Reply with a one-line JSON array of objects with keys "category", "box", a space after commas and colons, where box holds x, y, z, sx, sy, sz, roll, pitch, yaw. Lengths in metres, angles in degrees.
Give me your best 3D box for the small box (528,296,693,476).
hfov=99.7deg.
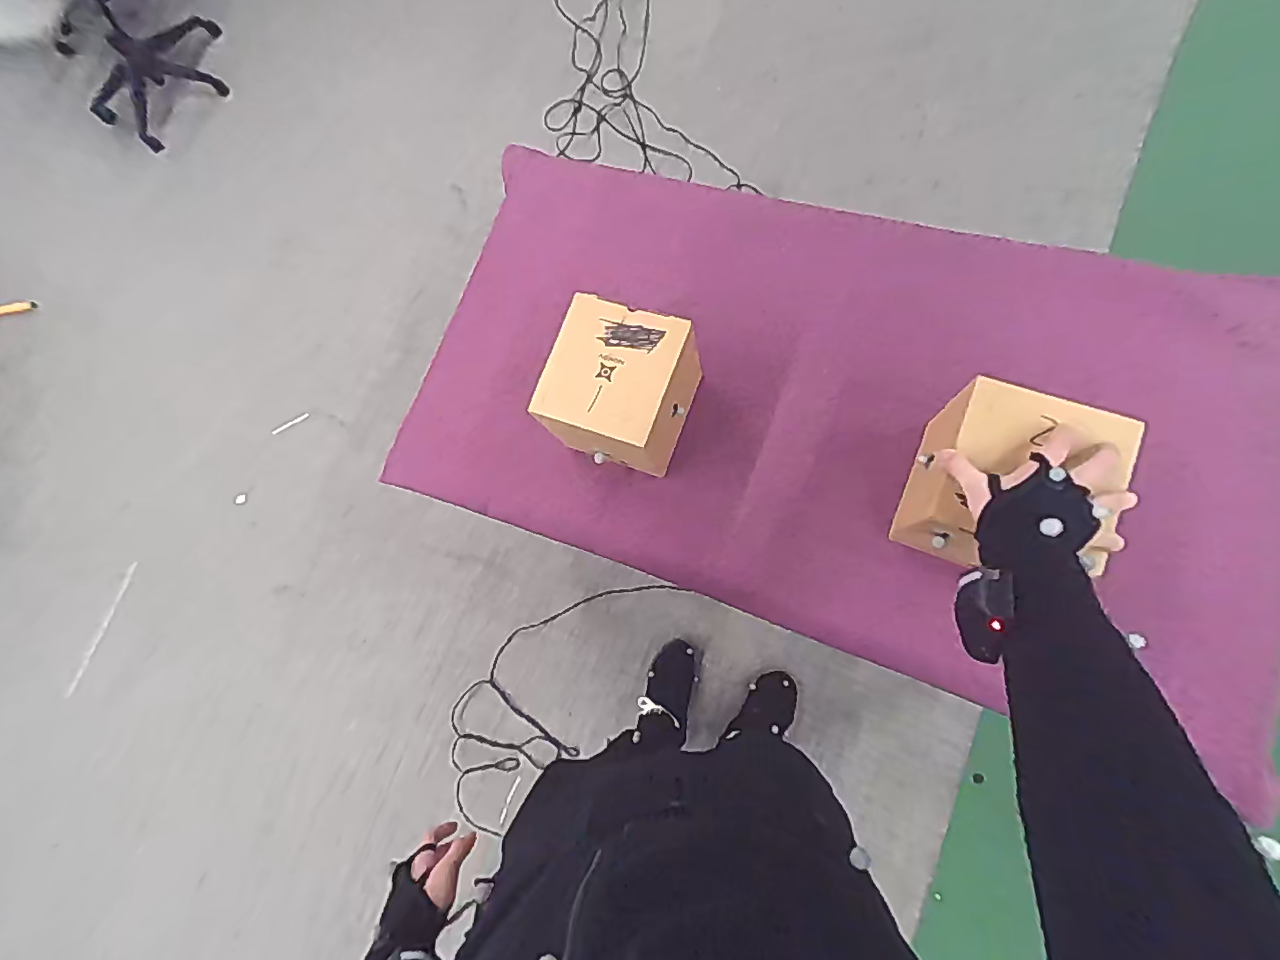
[{"category": "small box", "box": [-0.029, -0.124, 0.766, 0.168, 0.176, 0.179, 19, 82, 14]}]
